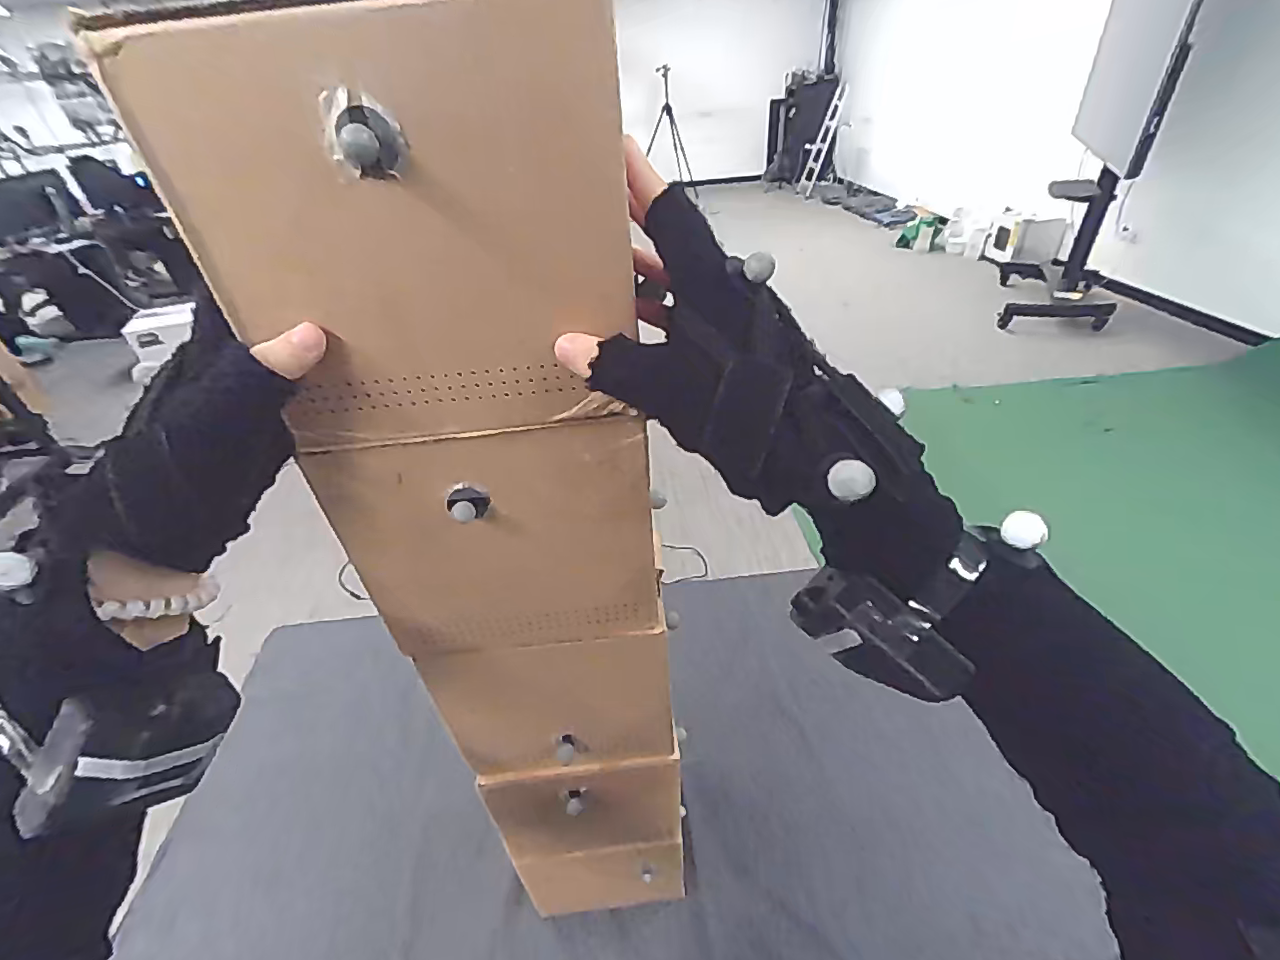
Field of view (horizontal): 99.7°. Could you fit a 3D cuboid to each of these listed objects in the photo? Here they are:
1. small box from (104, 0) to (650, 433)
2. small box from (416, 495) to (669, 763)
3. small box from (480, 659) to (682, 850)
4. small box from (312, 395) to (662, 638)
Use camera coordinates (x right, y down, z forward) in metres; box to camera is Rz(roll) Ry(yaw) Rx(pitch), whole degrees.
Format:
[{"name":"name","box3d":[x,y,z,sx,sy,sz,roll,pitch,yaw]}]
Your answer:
[{"name":"small box","box3d":[-0.091,-0.136,0.288,0.179,0.176,0.168,-5,38,0]},{"name":"small box","box3d":[-0.068,0.127,0.481,0.179,0.176,0.168,-4,36,-1]},{"name":"small box","box3d":[-0.054,0.262,0.574,0.179,0.176,0.168,-6,37,-2]},{"name":"small box","box3d":[-0.083,-0.006,0.386,0.179,0.176,0.168,-6,37,-2]}]
